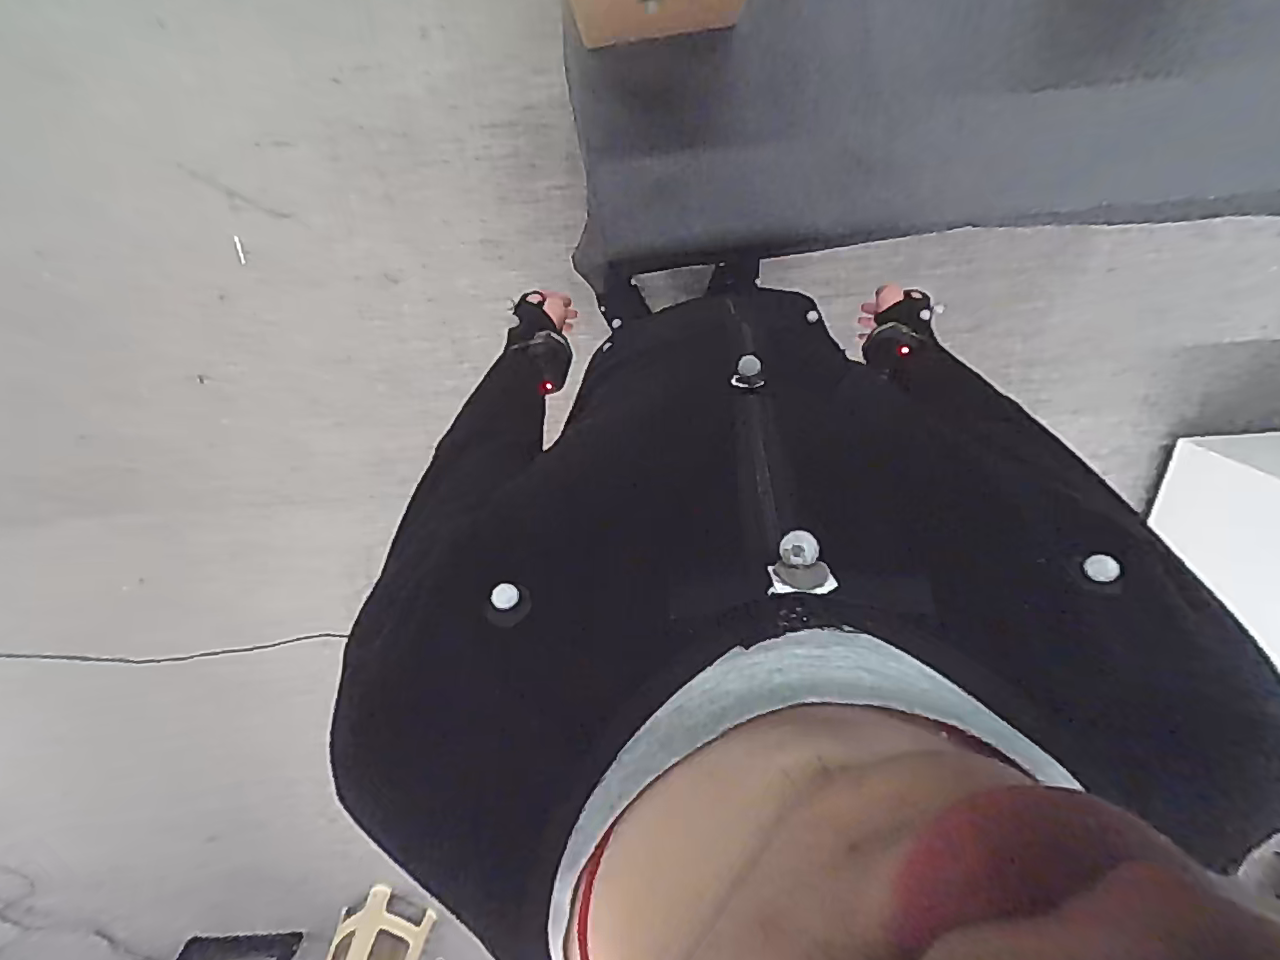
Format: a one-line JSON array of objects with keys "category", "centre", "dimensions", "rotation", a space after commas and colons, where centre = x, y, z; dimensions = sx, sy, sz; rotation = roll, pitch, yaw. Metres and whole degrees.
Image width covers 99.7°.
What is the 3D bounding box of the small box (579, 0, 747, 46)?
[{"category": "small box", "centre": [0.019, -0.534, 0.499], "dimensions": [0.179, 0.176, 0.168], "rotation": [-8, 114, 0]}]
